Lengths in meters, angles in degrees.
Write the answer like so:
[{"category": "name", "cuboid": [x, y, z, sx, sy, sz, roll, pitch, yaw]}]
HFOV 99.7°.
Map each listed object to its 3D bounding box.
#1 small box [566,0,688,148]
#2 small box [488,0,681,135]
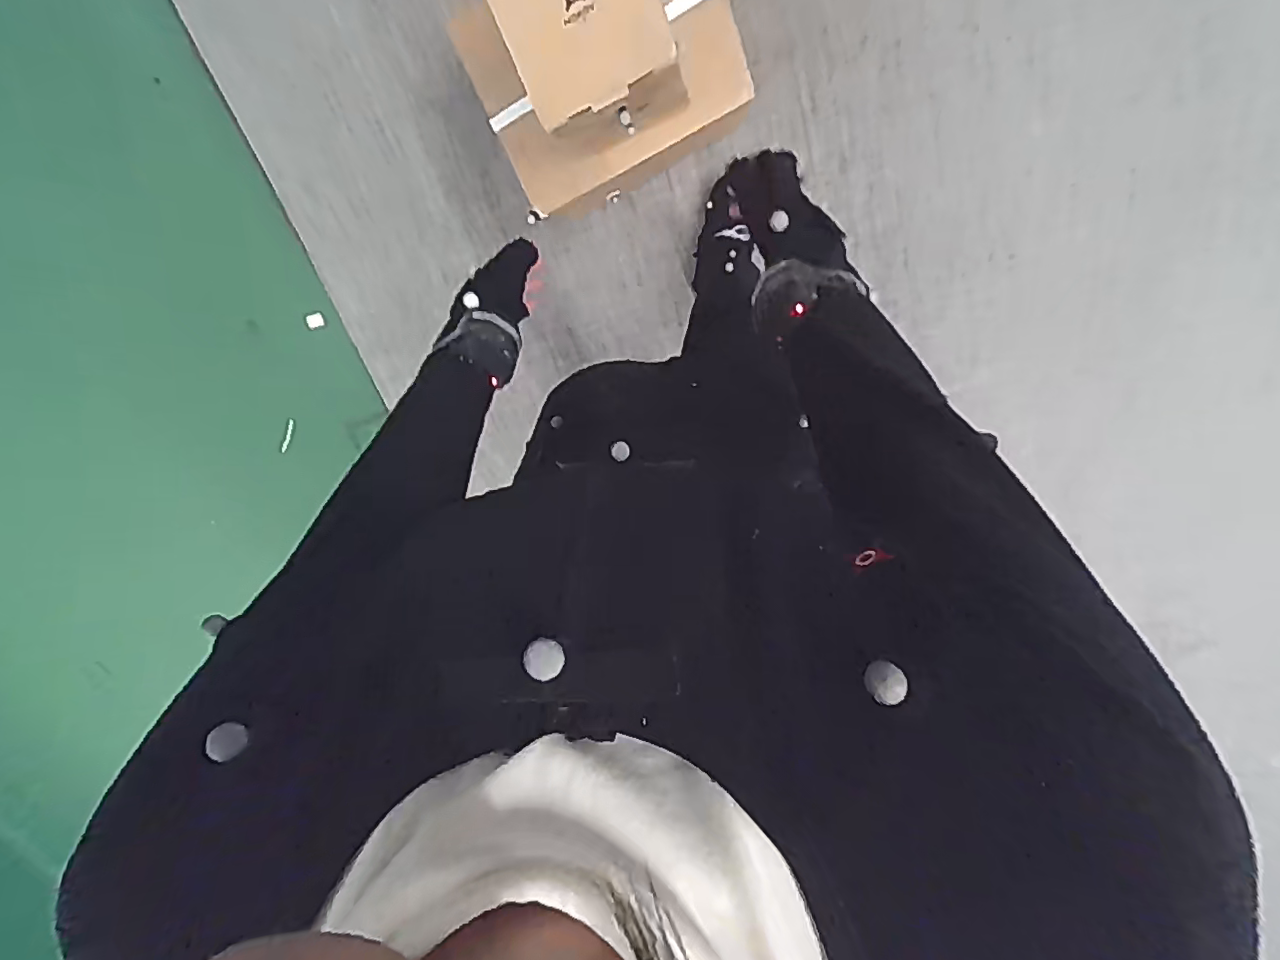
[{"category": "small box", "cuboid": [-0.038, -0.596, 0.765, 0.179, 0.176, 0.168, -18, 115, 15]}, {"category": "small box", "cuboid": [-0.057, -0.524, 0.620, 0.168, 0.176, 0.179, -18, 115, 16]}]
